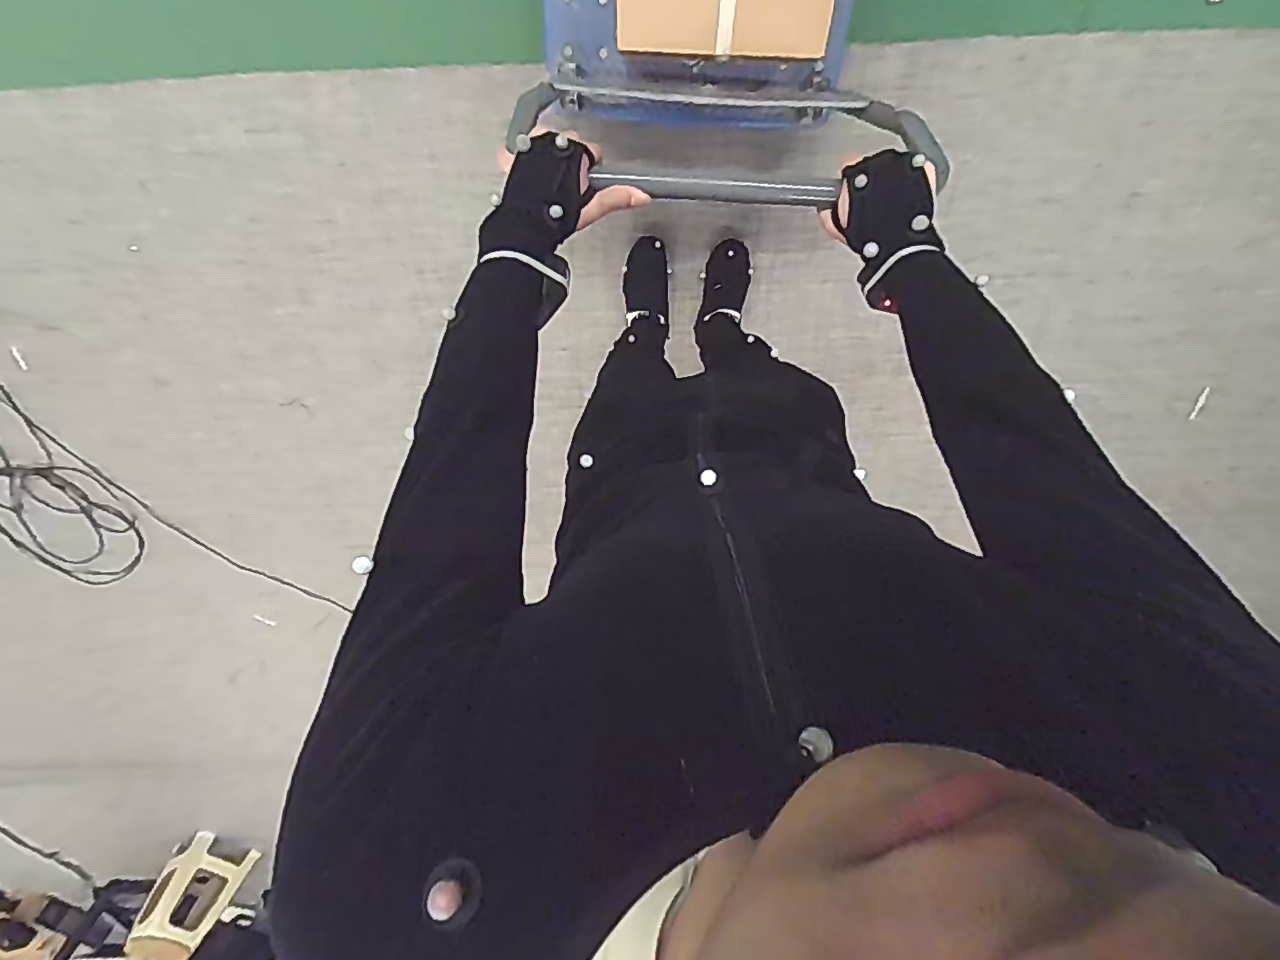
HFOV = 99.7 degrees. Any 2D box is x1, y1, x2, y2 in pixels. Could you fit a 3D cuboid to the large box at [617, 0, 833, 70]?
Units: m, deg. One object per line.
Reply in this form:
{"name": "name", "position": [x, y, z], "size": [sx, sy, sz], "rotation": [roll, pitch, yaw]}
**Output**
{"name": "large box", "position": [0.128, -0.882, 0.822], "size": [0.320, 0.320, 0.408], "rotation": [2, 125, -1]}
